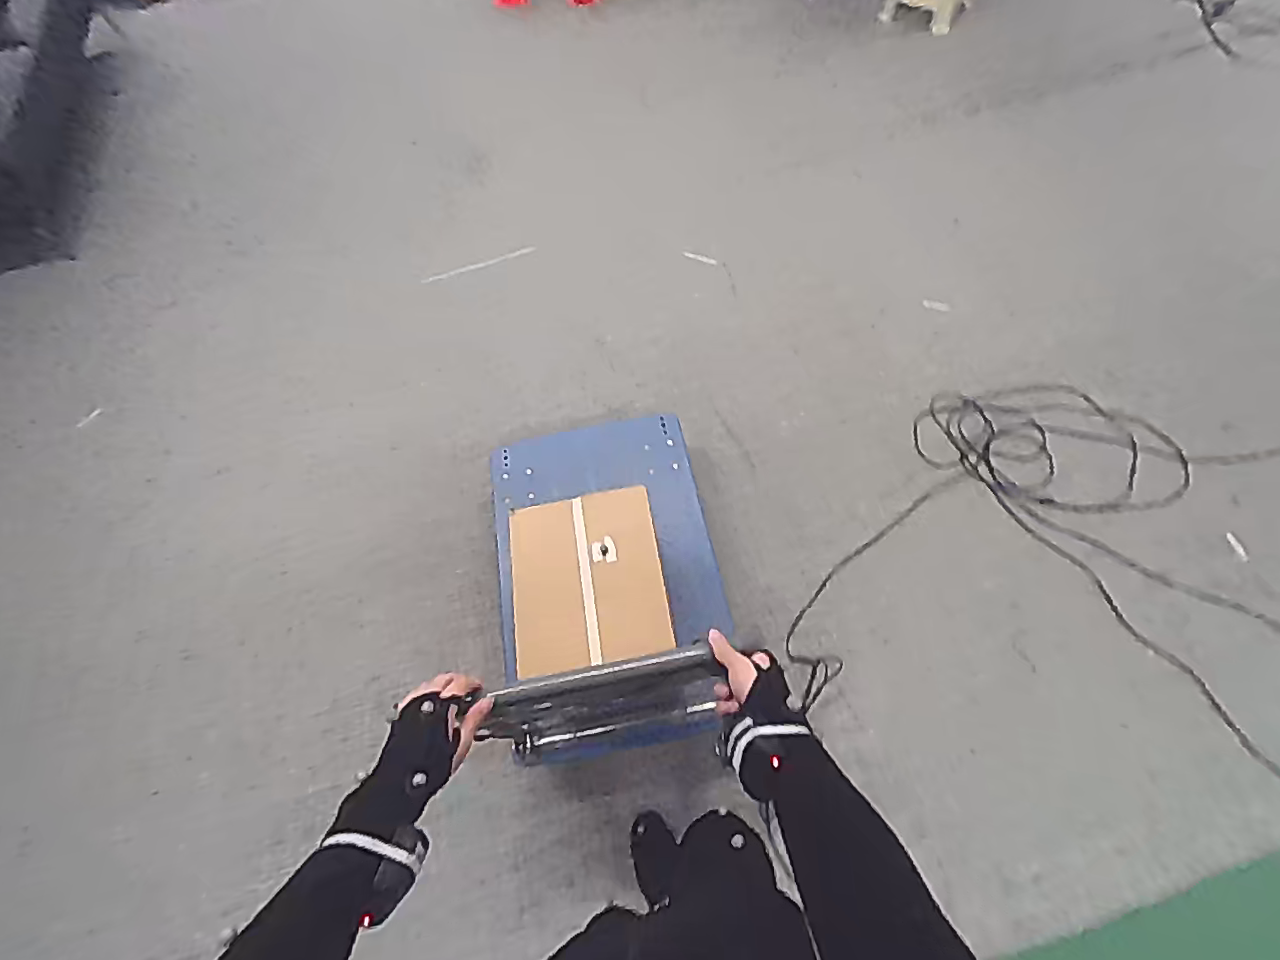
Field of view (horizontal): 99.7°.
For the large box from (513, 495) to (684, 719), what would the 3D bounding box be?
[{"bbox_3d":[-0.090,0.302,1.250,0.320,0.320,0.408,-10,61,0],"label":"large box"}]
